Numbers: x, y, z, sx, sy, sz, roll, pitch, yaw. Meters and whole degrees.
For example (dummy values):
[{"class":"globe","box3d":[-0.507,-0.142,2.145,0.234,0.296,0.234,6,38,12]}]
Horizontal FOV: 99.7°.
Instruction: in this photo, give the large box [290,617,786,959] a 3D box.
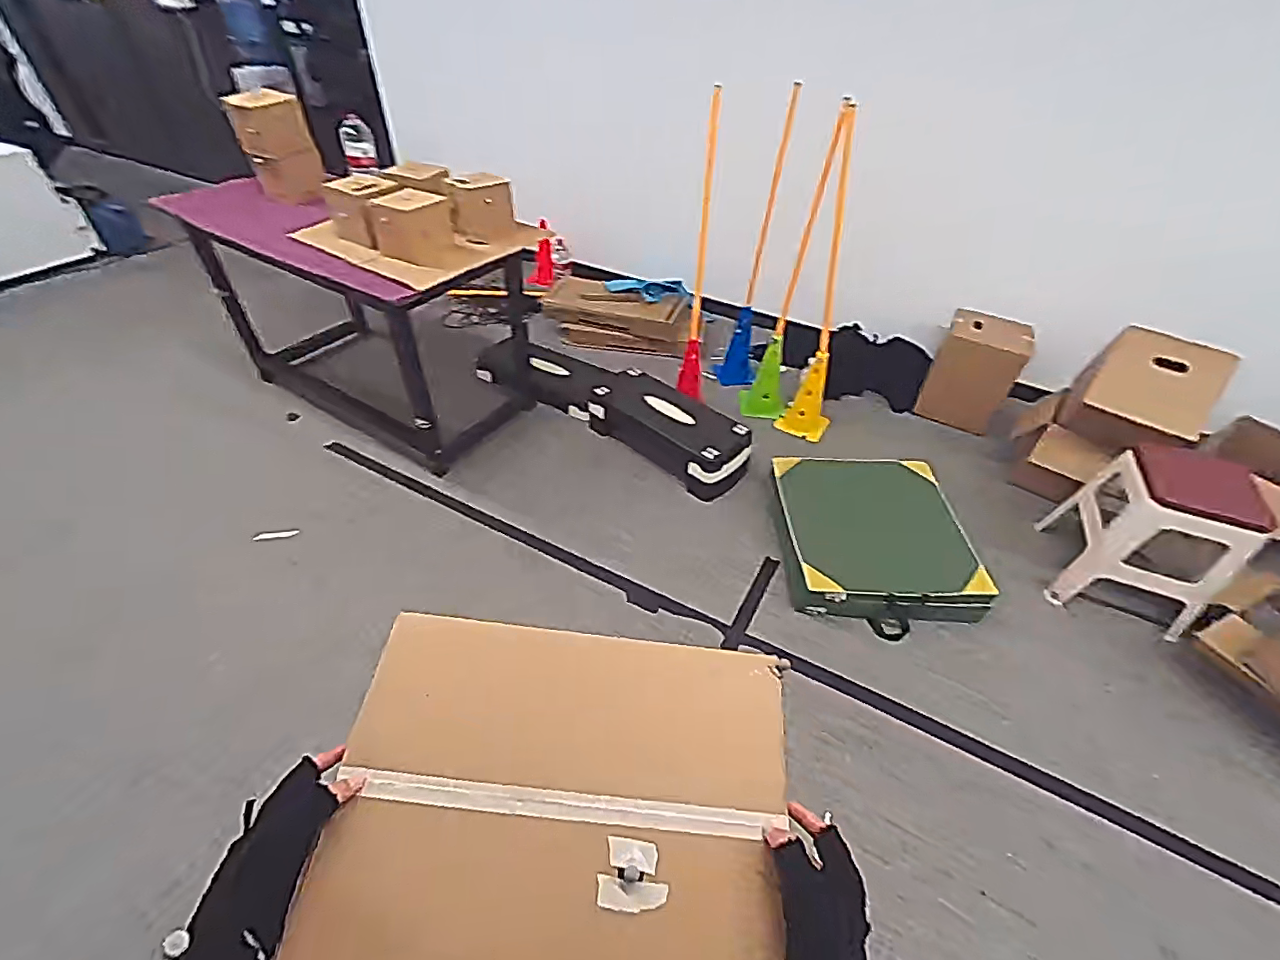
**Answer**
[{"class":"large box","box3d":[-0.081,0.381,0.622,0.408,0.320,0.320,7,55,0]}]
